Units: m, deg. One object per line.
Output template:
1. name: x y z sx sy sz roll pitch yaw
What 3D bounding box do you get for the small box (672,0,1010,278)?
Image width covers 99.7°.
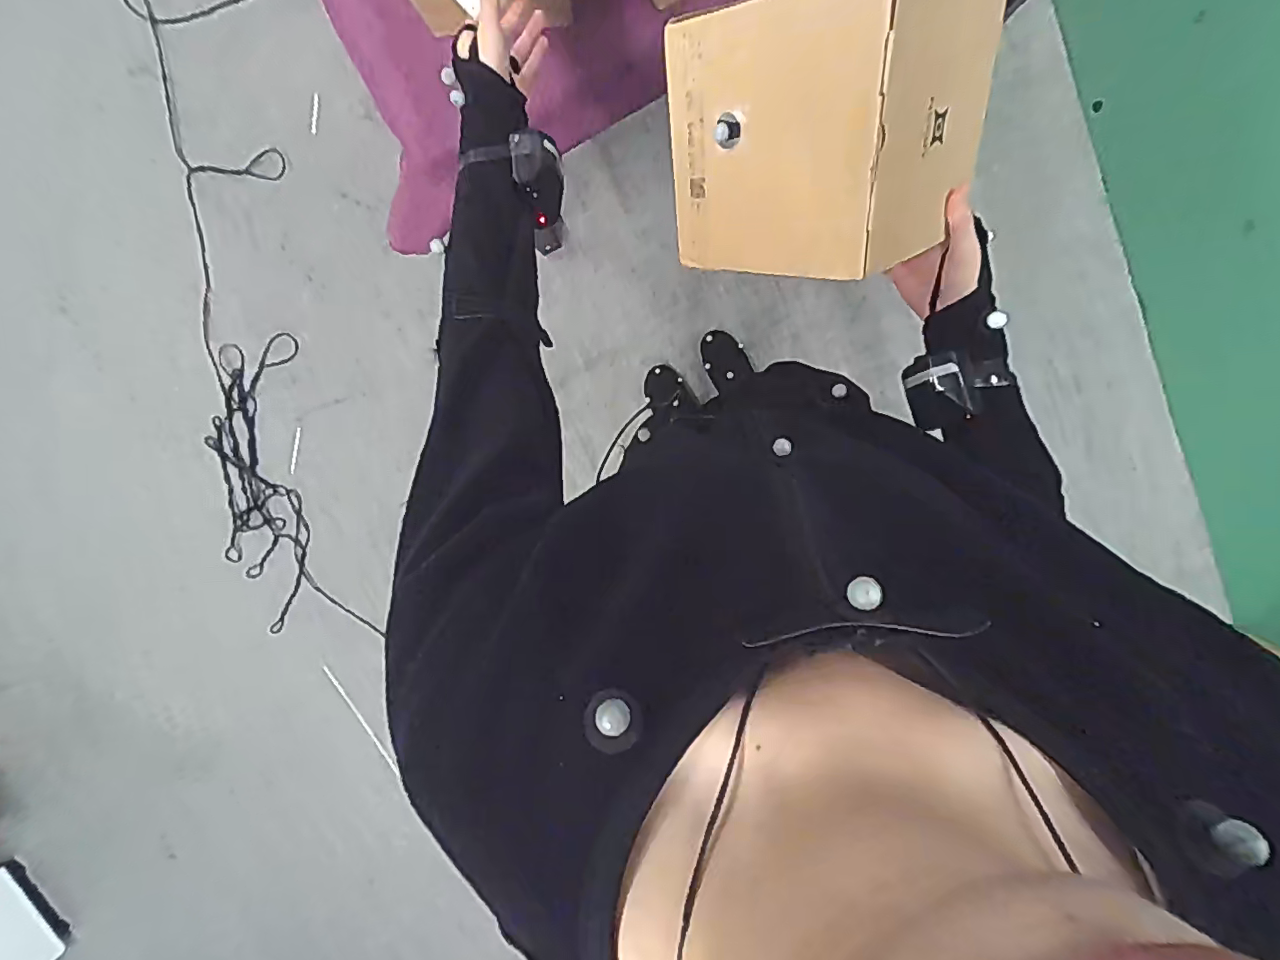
1. small box: 0.146 -0.265 0.418 0.176 0.179 0.168 25 134 41

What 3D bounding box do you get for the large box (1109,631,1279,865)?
1. large box: 1.605 0.683 1.426 0.408 0.320 0.320 -39 98 9
